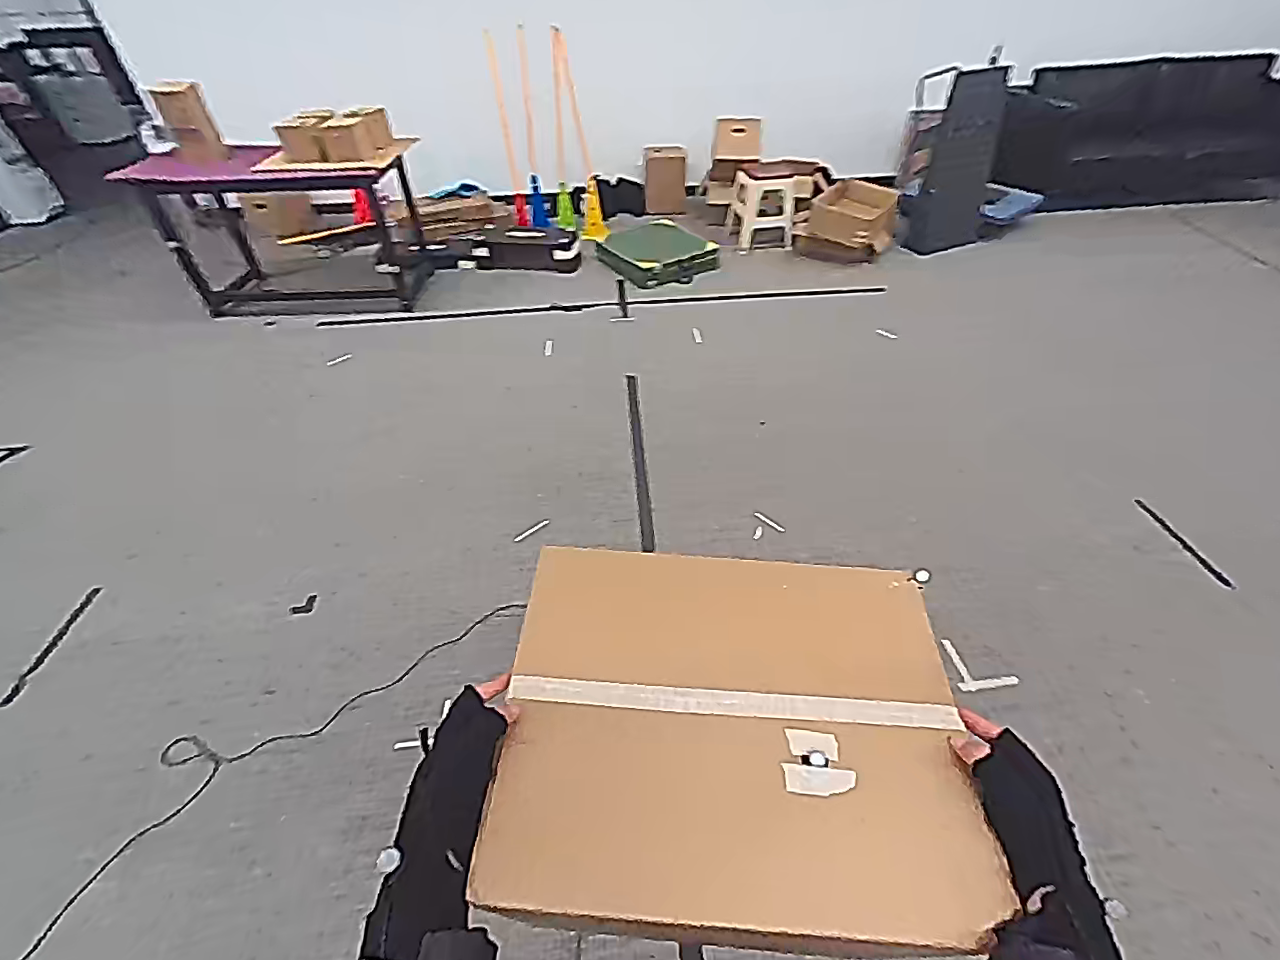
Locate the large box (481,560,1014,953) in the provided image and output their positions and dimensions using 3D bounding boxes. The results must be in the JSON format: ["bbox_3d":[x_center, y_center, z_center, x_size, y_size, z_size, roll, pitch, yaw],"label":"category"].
[{"bbox_3d":[0.079,0.311,0.604,0.408,0.320,0.320,4,49,1],"label":"large box"}]
